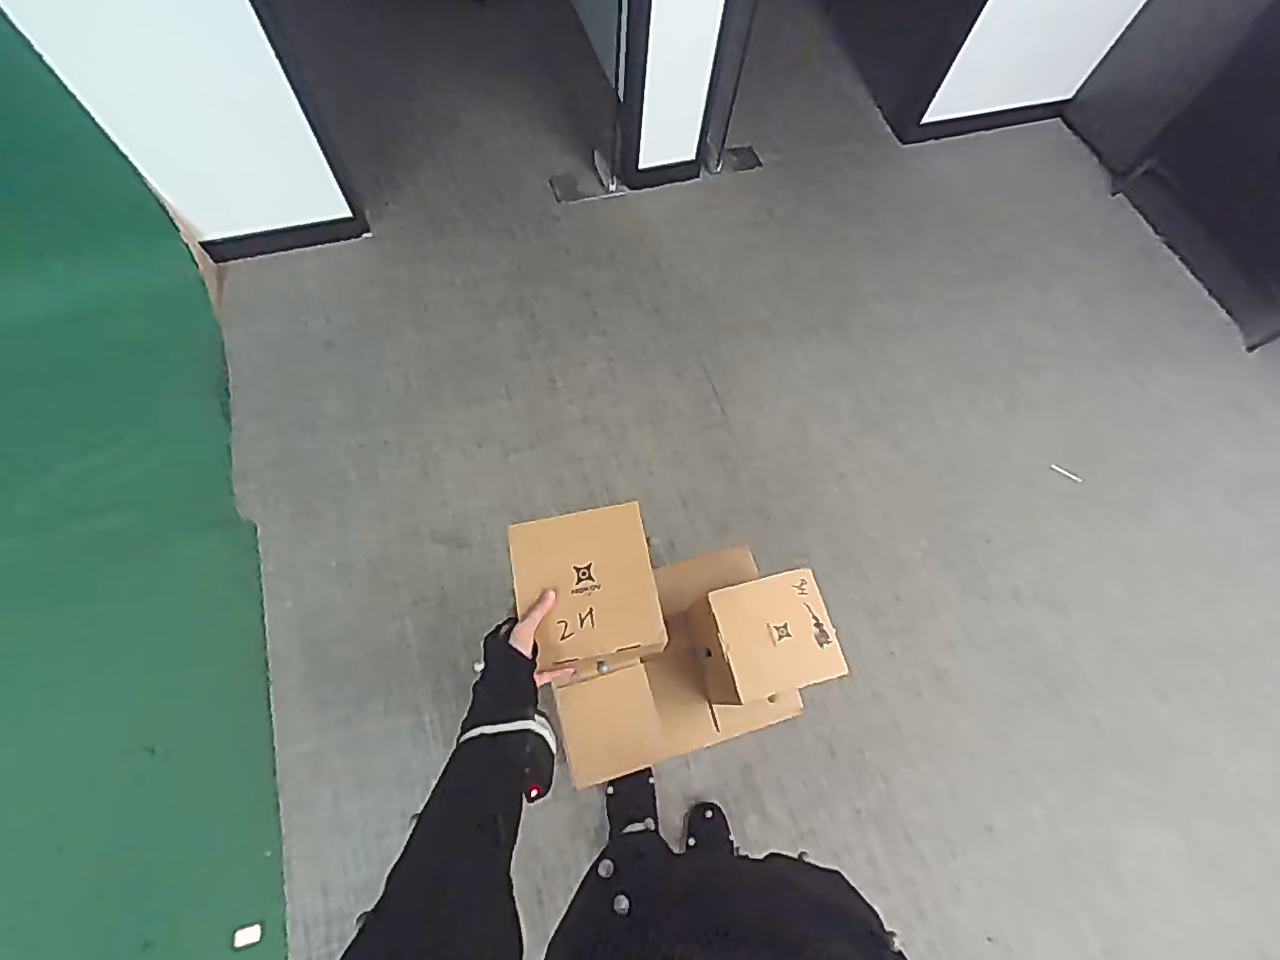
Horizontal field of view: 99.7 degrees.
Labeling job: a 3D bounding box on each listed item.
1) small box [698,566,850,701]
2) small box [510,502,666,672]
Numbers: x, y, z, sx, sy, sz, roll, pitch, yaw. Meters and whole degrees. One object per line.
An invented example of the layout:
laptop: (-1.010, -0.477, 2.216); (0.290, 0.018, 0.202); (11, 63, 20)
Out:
small box: (0.200, 0.252, 0.875); (0.179, 0.176, 0.168); (-12, 71, -9)
small box: (-0.064, 0.148, 0.715); (0.168, 0.176, 0.179); (-11, 70, -2)
